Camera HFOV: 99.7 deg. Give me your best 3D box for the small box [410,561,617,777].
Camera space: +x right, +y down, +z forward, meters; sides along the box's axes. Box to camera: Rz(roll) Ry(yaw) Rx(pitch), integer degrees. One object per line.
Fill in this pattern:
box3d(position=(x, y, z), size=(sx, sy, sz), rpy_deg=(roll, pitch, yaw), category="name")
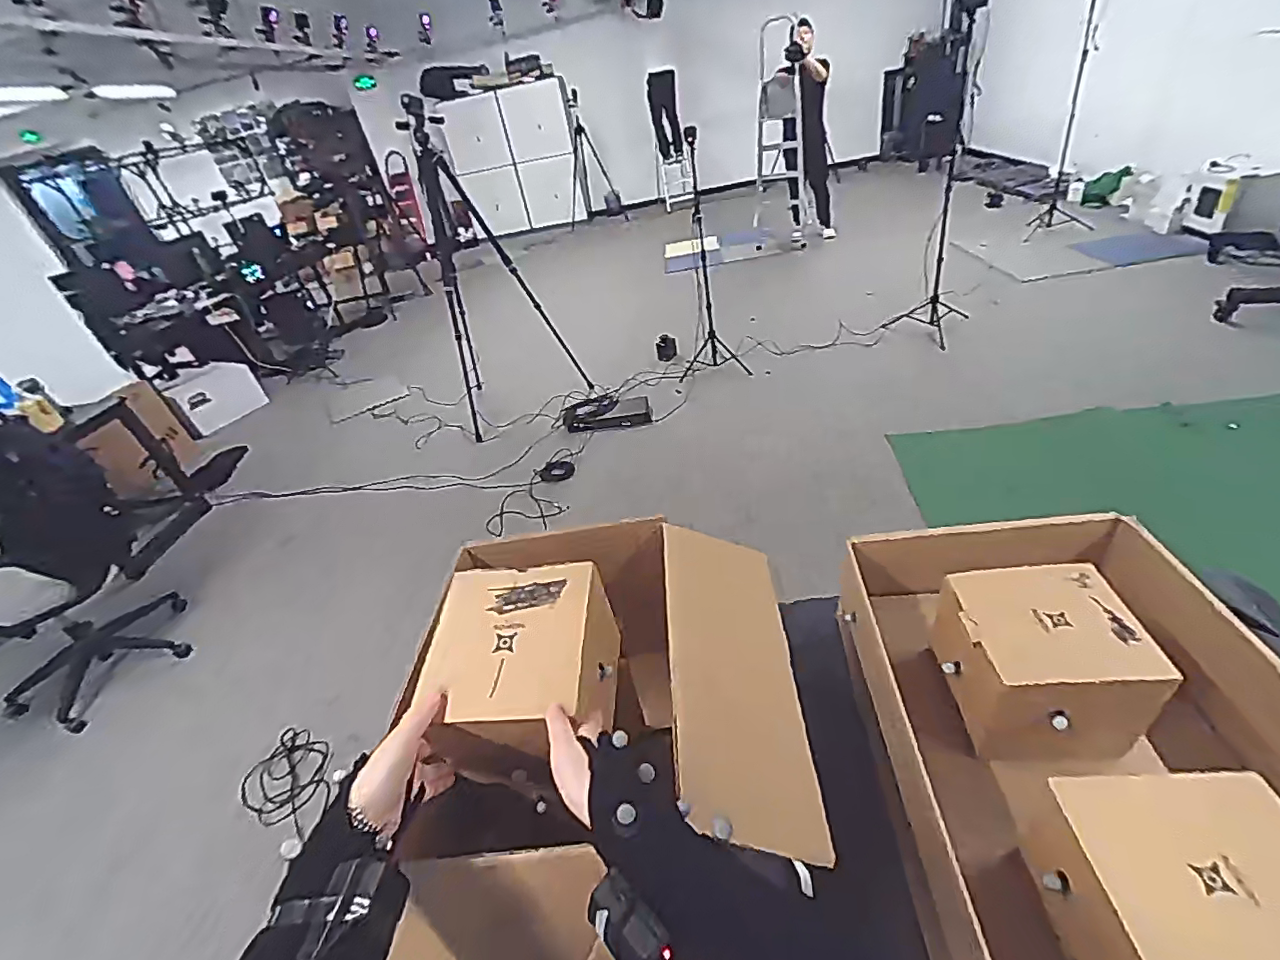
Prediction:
box3d(position=(-0.123, 0.214, 0.610), size=(0.168, 0.176, 0.179), rpy_deg=(-6, 46, 7), category="small box")
